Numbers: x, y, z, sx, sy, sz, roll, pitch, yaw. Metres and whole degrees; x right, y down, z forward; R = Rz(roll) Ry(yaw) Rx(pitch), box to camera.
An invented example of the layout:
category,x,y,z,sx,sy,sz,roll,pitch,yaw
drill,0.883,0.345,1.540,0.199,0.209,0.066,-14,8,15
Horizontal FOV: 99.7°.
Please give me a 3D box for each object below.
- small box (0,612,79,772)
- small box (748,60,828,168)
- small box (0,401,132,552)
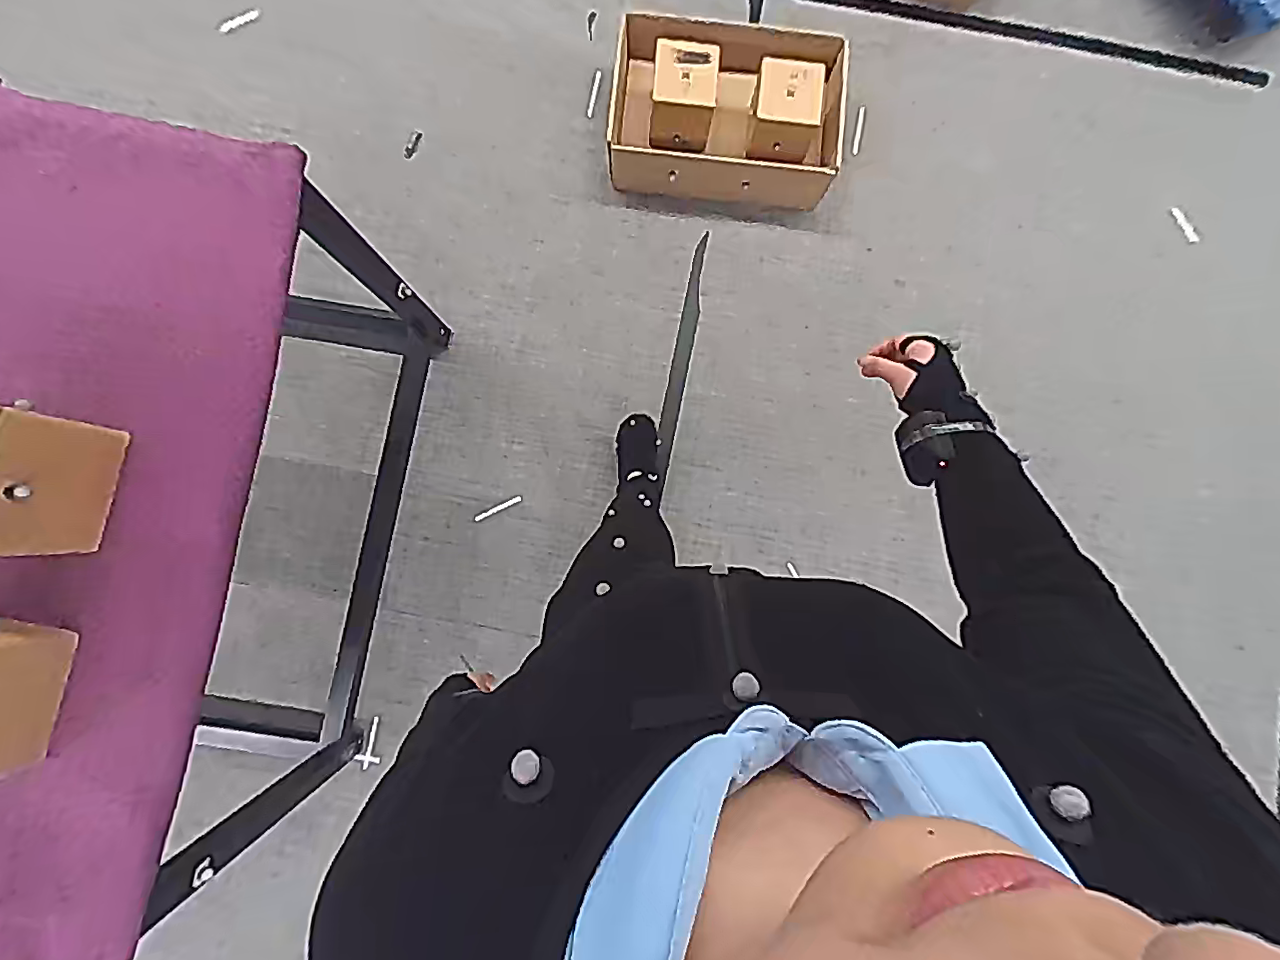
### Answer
category,x,y,z,sx,sy,sz,roll,pitch,yaw
small box,-0.863,0.270,0.663,0.168,0.176,0.179,11,84,0
small box,0.398,-0.994,1.481,0.168,0.176,0.179,7,84,0
small box,-0.818,-0.010,0.692,0.168,0.176,0.179,11,85,0
